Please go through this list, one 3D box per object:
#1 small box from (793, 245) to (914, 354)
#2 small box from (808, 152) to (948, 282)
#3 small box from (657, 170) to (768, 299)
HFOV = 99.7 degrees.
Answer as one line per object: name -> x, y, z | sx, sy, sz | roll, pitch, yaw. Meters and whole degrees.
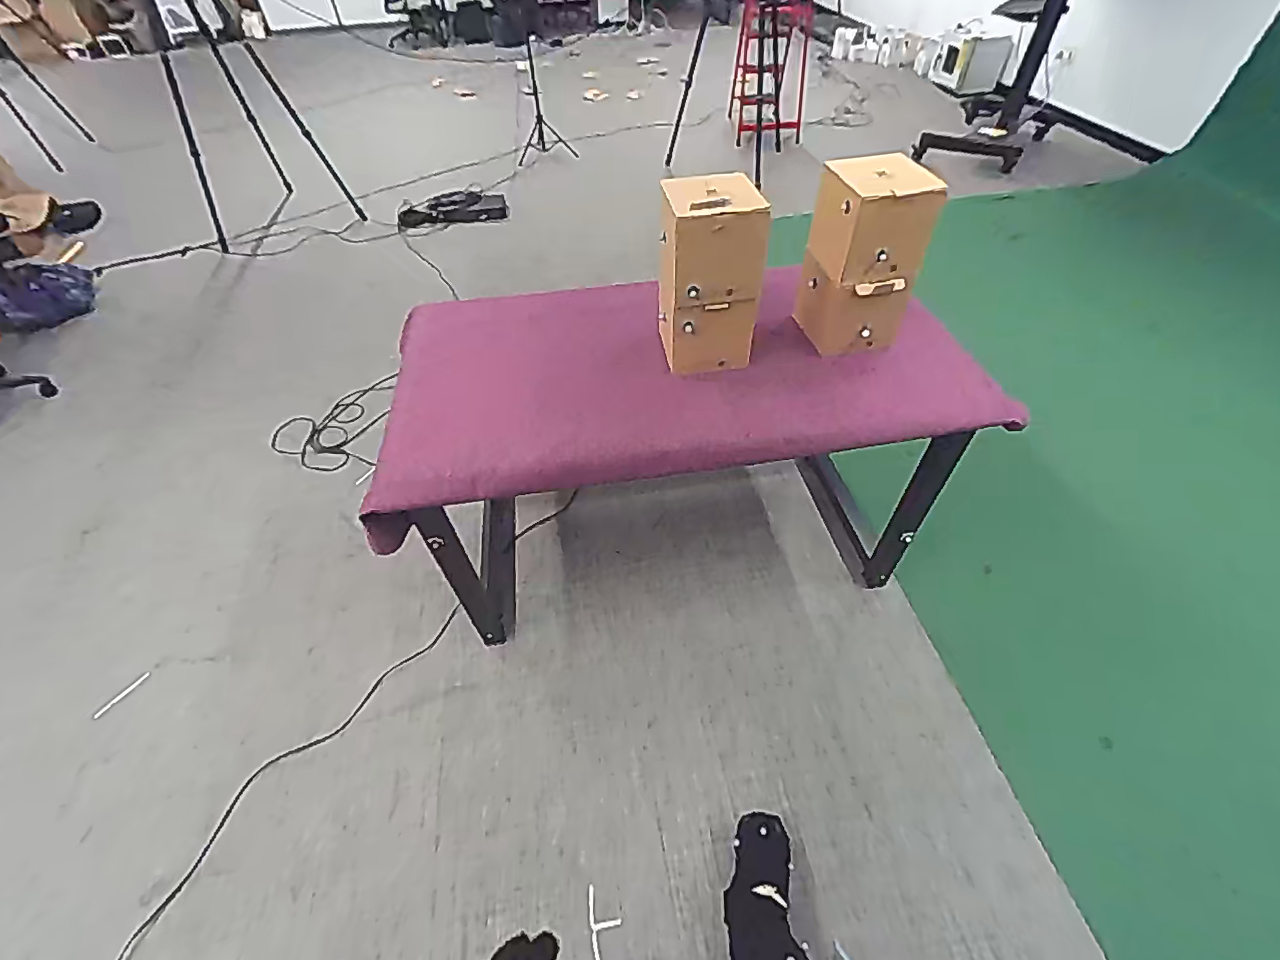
small box -> 0.449, -0.398, 1.170 | 0.168, 0.176, 0.179 | -11, 50, -6
small box -> 0.445, -0.508, 1.049 | 0.168, 0.176, 0.179 | -10, 50, -6
small box -> 0.127, -0.453, 1.013 | 0.168, 0.176, 0.179 | -8, 48, -5
